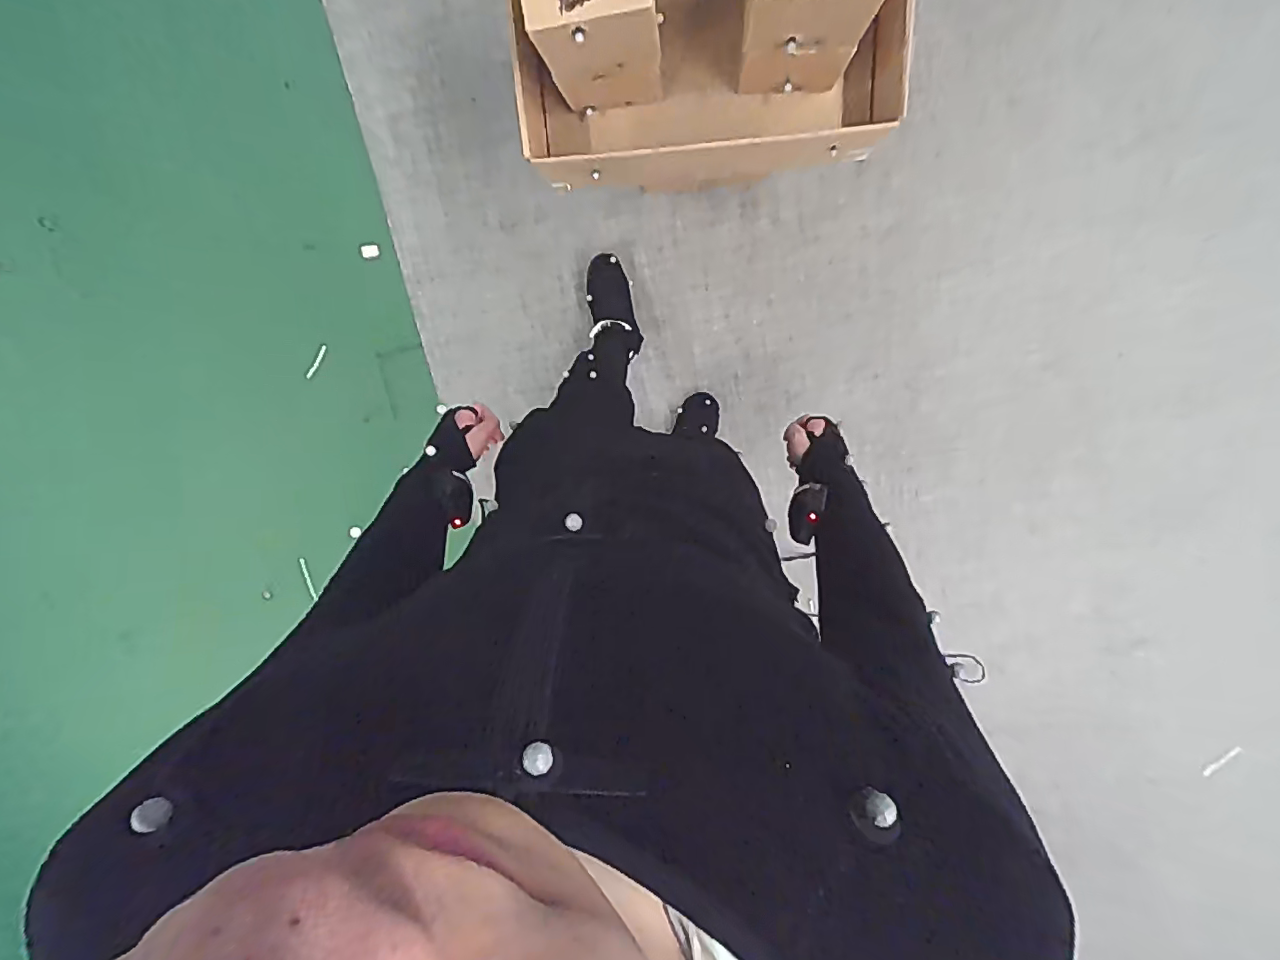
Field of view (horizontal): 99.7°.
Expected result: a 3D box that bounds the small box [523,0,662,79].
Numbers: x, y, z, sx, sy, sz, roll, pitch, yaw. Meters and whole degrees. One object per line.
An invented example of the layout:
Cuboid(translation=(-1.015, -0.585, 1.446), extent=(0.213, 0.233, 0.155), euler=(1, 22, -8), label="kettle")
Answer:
Cuboid(translation=(-0.063, -0.677, 0.717), extent=(0.168, 0.176, 0.179), euler=(-5, 107, 7), label="small box")

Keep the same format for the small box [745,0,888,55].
Cuboid(translation=(0.227, -0.685, 0.689), extent=(0.168, 0.176, 0.179), euler=(1, 108, 5), label="small box")

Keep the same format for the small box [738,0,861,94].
Cuboid(translation=(0.246, -0.736, 0.843), extent=(0.168, 0.176, 0.179), euler=(1, 108, 5), label="small box")
